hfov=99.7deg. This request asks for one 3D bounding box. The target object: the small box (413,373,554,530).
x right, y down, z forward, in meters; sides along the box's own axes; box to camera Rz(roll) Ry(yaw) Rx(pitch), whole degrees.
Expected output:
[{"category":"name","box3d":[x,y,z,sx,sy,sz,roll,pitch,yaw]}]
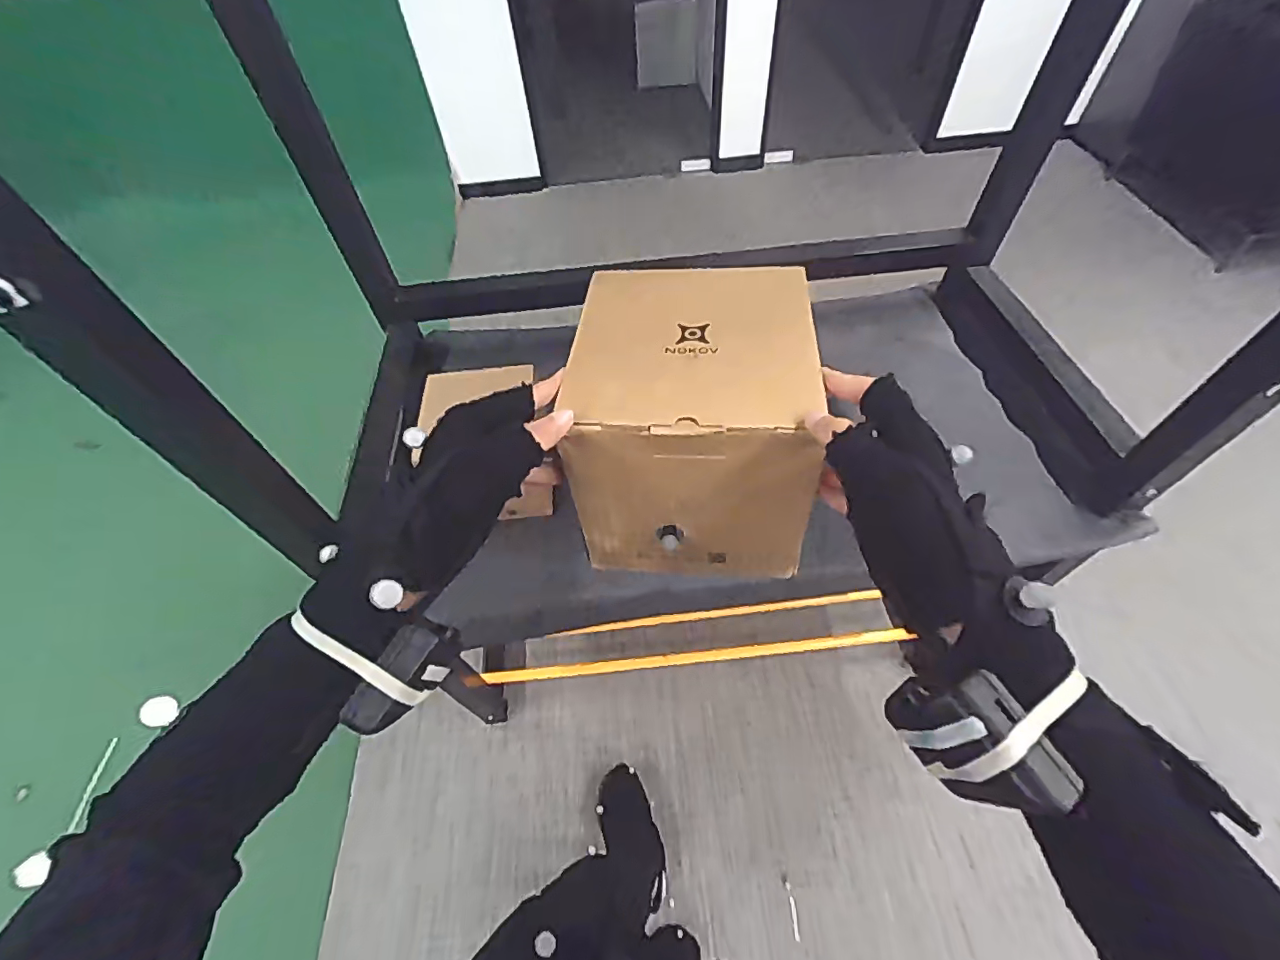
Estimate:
[{"category":"small box","box3d":[-0.232,-0.042,0.852,0.168,0.176,0.179,-6,53,-1]}]
